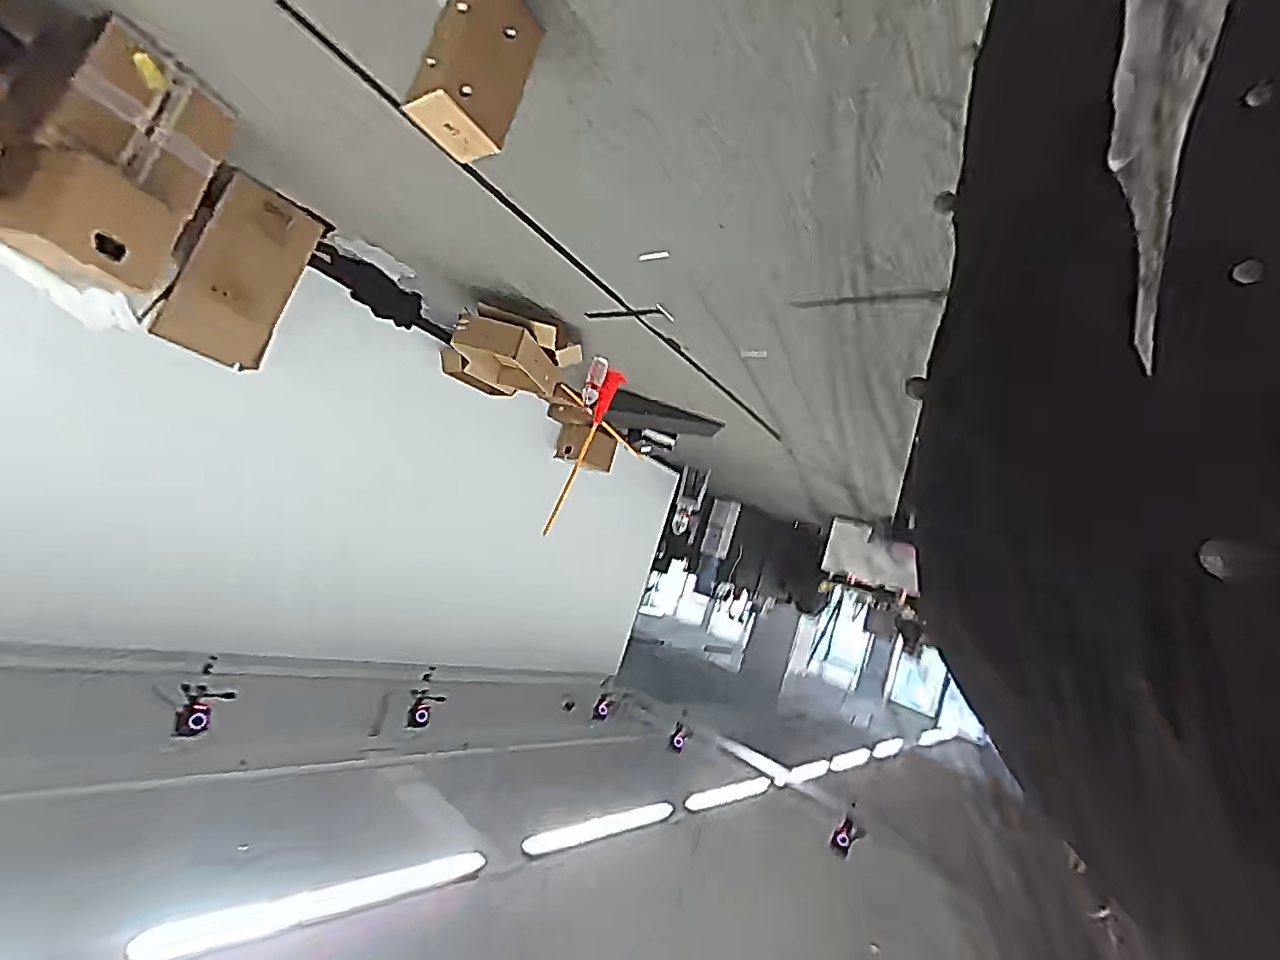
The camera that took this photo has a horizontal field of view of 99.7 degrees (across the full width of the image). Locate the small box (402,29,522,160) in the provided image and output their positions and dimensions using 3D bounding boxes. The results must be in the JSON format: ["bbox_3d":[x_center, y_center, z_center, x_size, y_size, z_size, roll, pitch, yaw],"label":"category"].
[{"bbox_3d":[-0.410,-0.895,1.257,0.168,0.176,0.179,13,172,37],"label":"small box"}]
